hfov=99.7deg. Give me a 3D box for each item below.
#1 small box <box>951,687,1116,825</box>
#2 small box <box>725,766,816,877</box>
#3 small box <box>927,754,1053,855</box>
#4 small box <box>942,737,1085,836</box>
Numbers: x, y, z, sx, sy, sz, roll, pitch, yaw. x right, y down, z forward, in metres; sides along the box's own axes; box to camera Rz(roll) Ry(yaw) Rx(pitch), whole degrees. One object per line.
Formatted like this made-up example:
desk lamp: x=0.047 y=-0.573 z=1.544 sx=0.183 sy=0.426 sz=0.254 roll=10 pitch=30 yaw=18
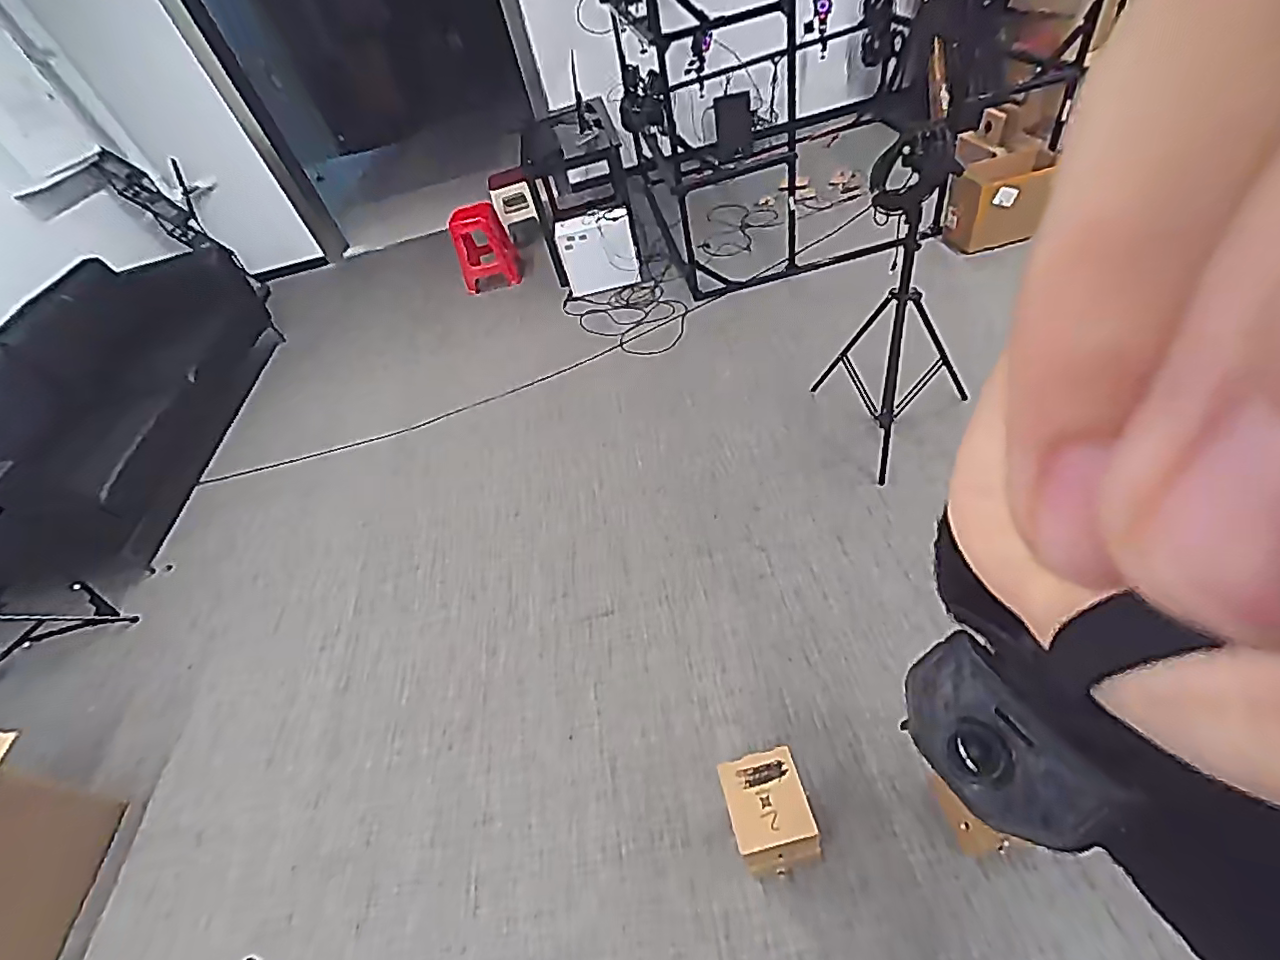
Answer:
small box: x=0.722 y=0.522 z=1.021 sx=0.168 sy=0.176 sz=0.179 roll=-13 pitch=45 yaw=4
small box: x=0.313 y=0.830 z=1.312 sx=0.168 sy=0.176 sz=0.179 roll=-17 pitch=45 yaw=2
small box: x=0.796 y=0.742 z=1.254 sx=0.168 sy=0.176 sz=0.179 roll=-13 pitch=46 yaw=4
small box: x=0.769 y=0.630 z=1.137 sx=0.168 sy=0.176 sz=0.179 roll=-13 pitch=45 yaw=3
